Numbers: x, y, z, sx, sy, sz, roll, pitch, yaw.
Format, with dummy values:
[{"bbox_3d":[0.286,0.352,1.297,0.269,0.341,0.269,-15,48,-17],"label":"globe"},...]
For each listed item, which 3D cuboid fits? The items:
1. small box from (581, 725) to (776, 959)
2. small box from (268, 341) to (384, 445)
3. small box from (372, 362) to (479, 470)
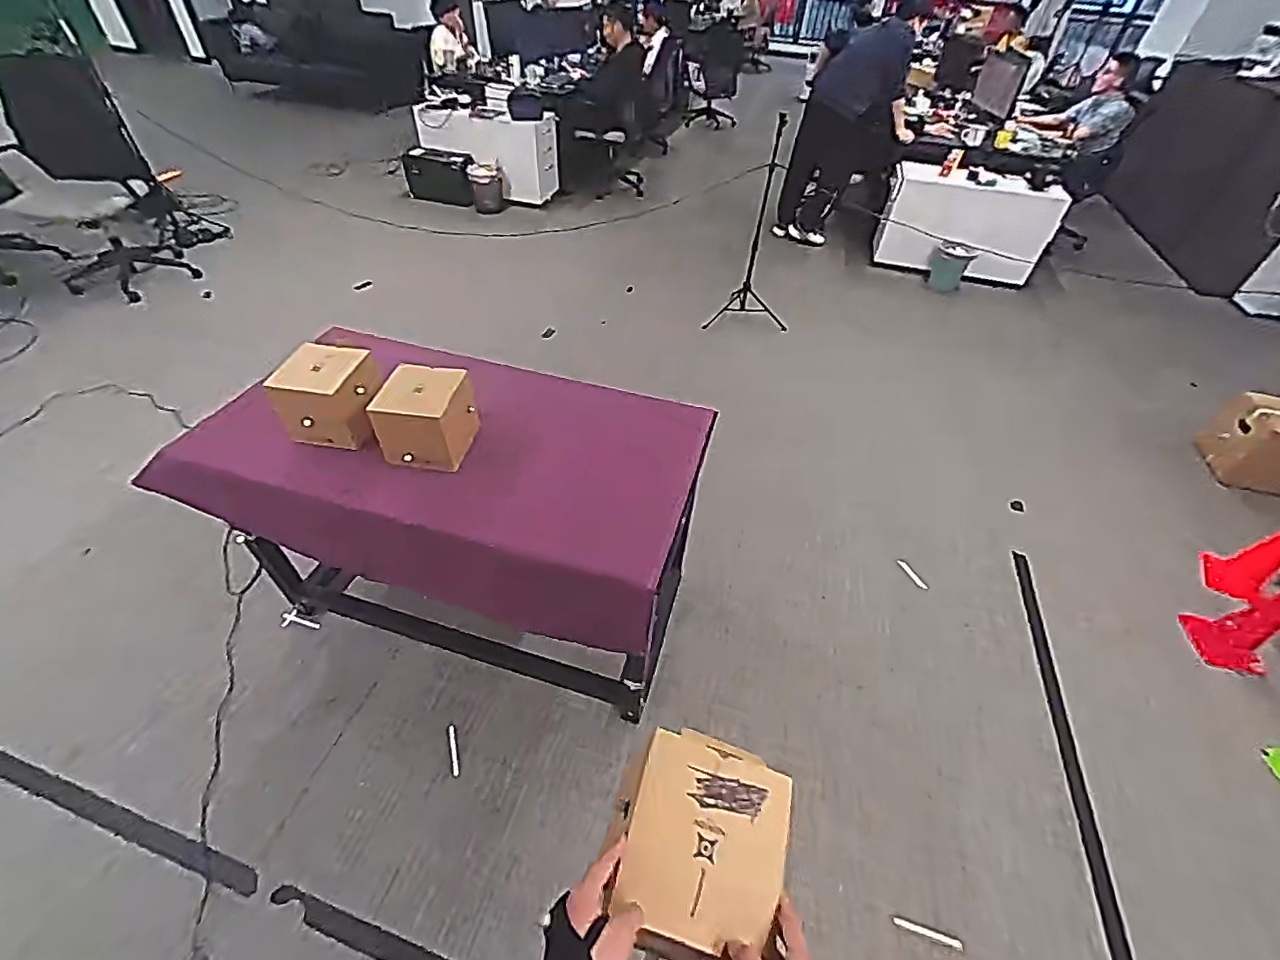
[{"bbox_3d":[0.041,0.420,0.620,0.168,0.176,0.179,20,46,2],"label":"small box"},{"bbox_3d":[-0.729,-0.205,1.293,0.168,0.176,0.179,9,46,3],"label":"small box"},{"bbox_3d":[-0.485,-0.148,1.259,0.168,0.176,0.179,7,46,4],"label":"small box"}]
